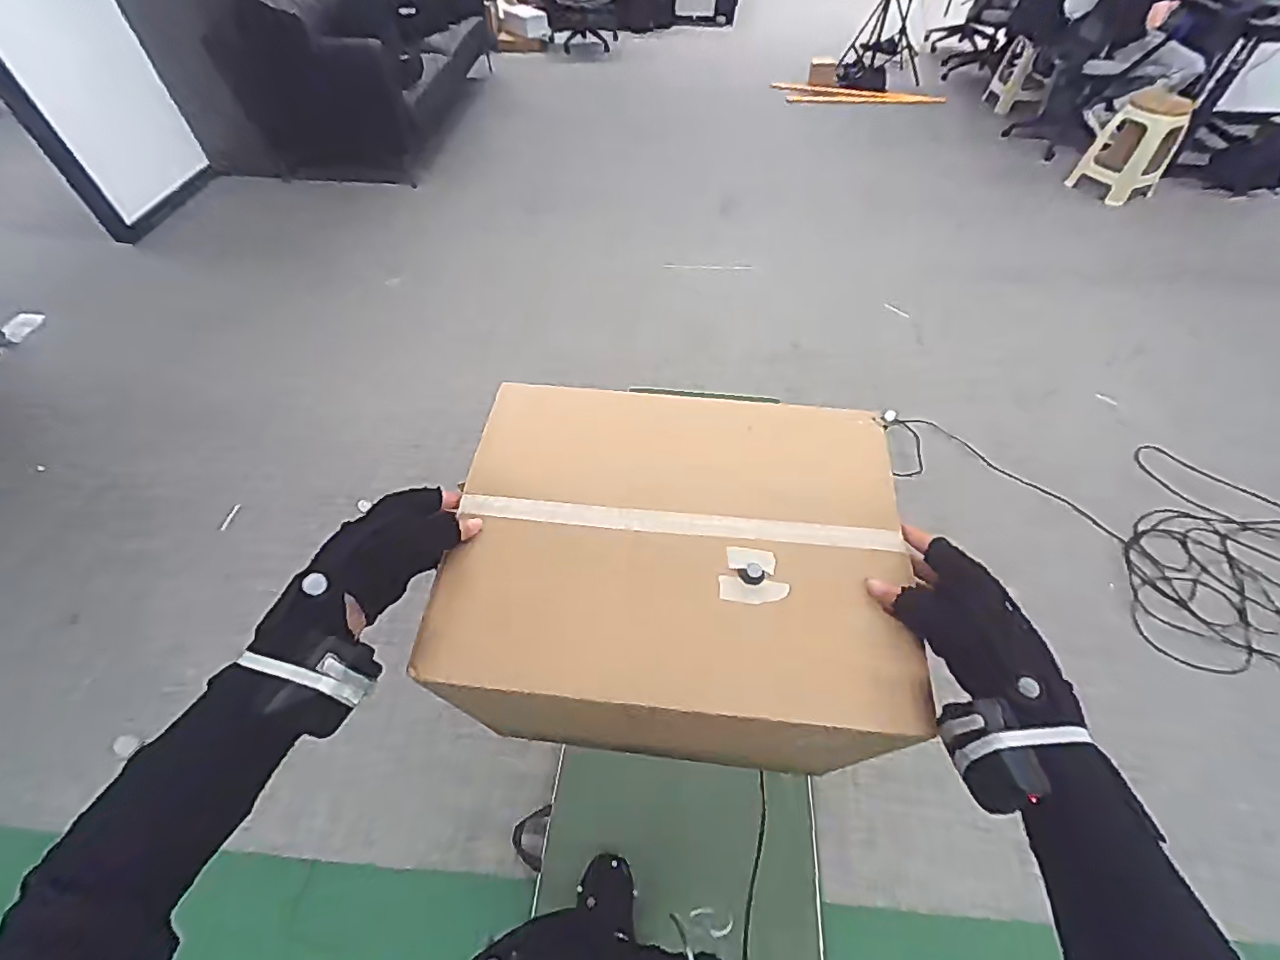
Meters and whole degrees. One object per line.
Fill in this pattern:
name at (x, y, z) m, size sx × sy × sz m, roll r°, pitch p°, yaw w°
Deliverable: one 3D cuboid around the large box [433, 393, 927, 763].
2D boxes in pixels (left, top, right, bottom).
large box at (0.038, 0.126, 0.632) m, size 0.408 × 0.320 × 0.320 m, roll 5°, pitch 58°, yaw 3°
